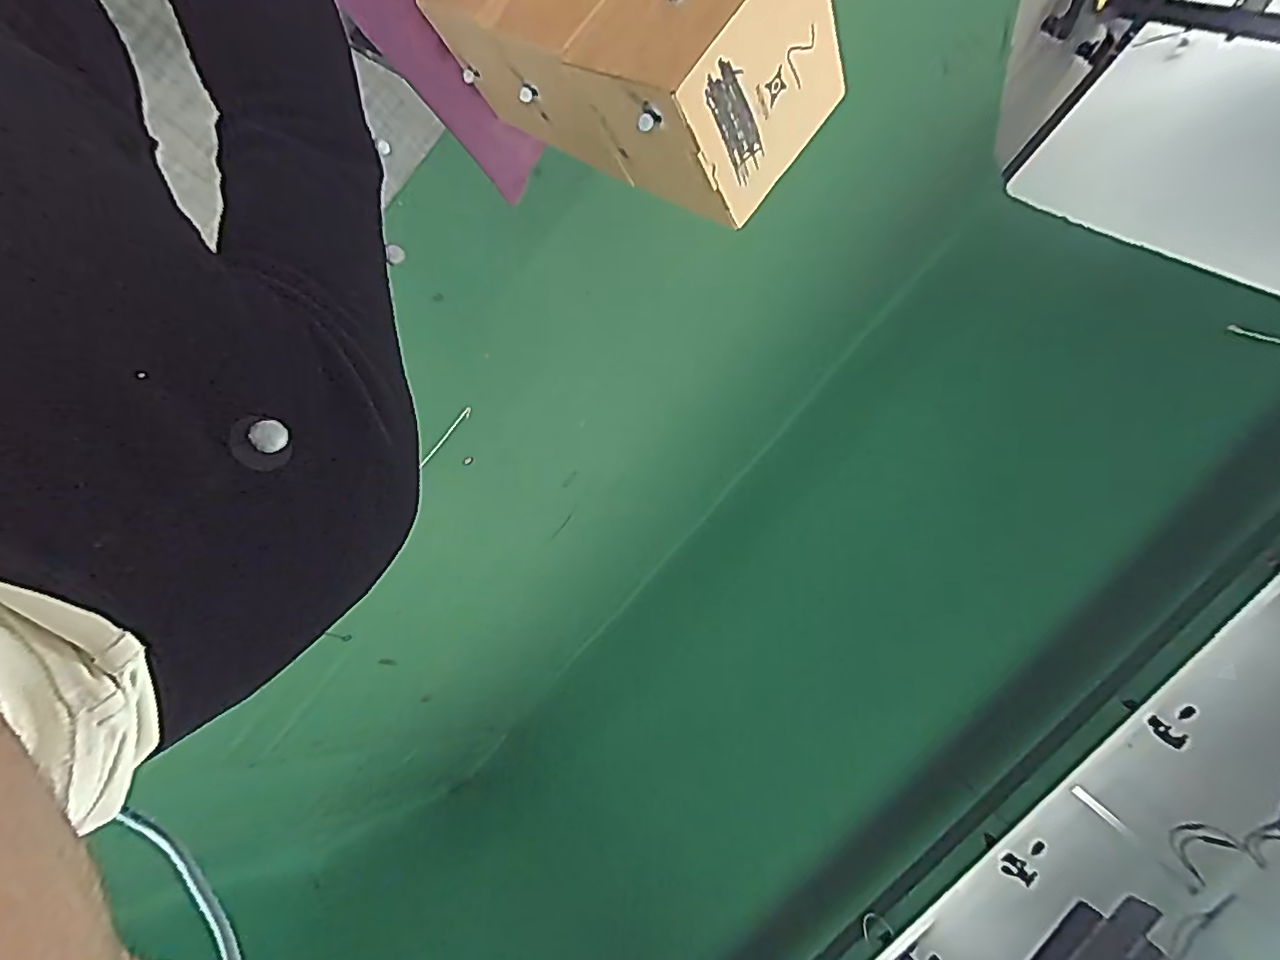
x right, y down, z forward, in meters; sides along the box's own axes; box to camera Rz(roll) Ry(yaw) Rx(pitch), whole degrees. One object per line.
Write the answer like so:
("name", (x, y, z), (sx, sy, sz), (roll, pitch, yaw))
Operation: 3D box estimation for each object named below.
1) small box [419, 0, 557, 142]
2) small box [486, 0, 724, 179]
("small box", (-0.146, -0.591, 0.695), (0.168, 0.176, 0.179), (-48, 151, 2))
("small box", (-0.039, -0.496, 0.616), (0.179, 0.176, 0.168), (-48, 149, 3))
